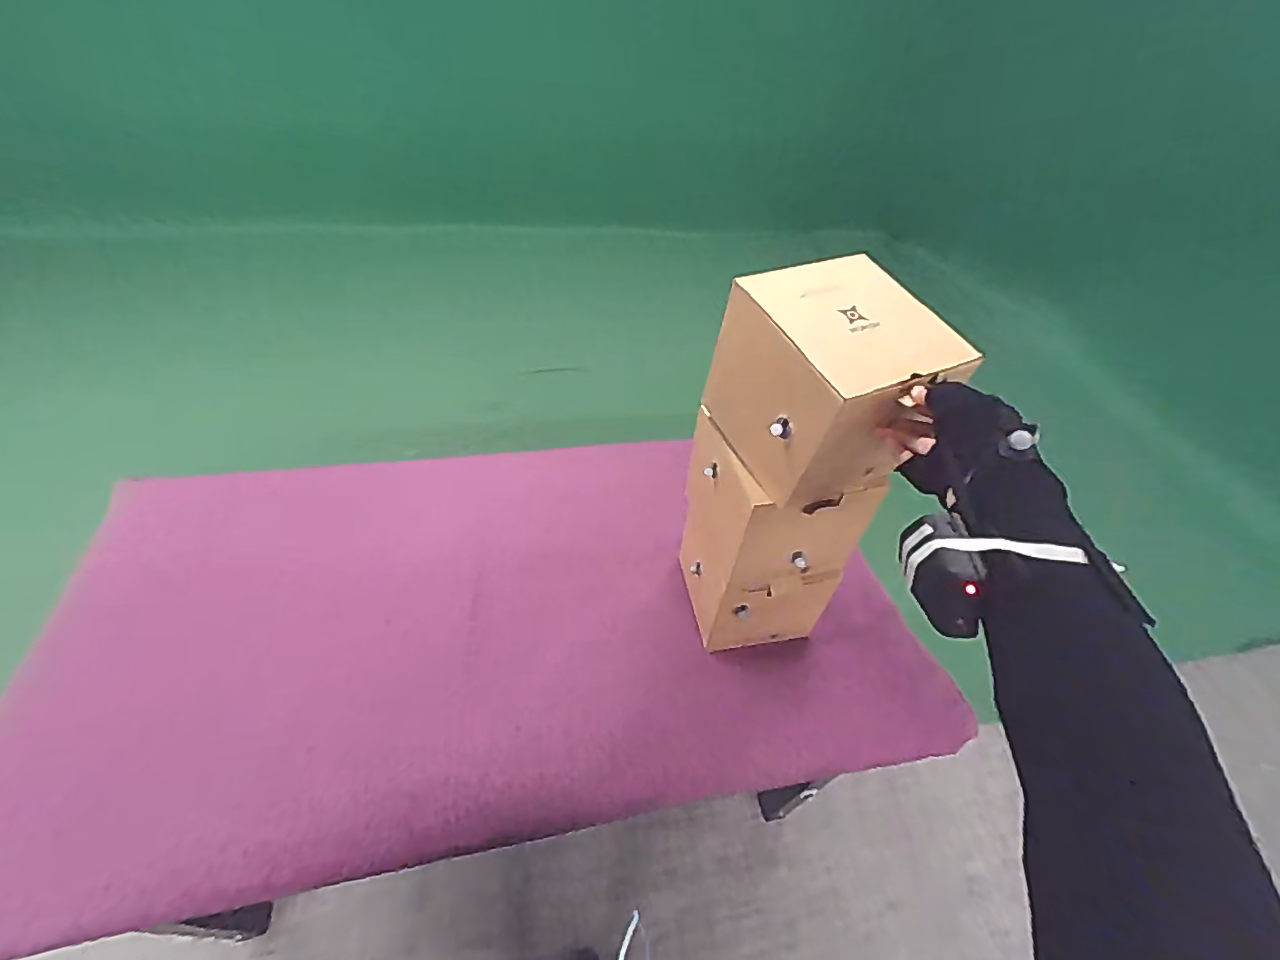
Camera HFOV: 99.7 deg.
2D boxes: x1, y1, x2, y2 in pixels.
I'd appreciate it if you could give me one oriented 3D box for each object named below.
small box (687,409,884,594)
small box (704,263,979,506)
[{"bbox_3d":[0.167,0.019,0.694,0.168,0.176,0.179,-9,49,-13],"label":"small box"},{"bbox_3d":[0.188,-0.092,0.563,0.168,0.176,0.179,-17,58,-20],"label":"small box"}]
